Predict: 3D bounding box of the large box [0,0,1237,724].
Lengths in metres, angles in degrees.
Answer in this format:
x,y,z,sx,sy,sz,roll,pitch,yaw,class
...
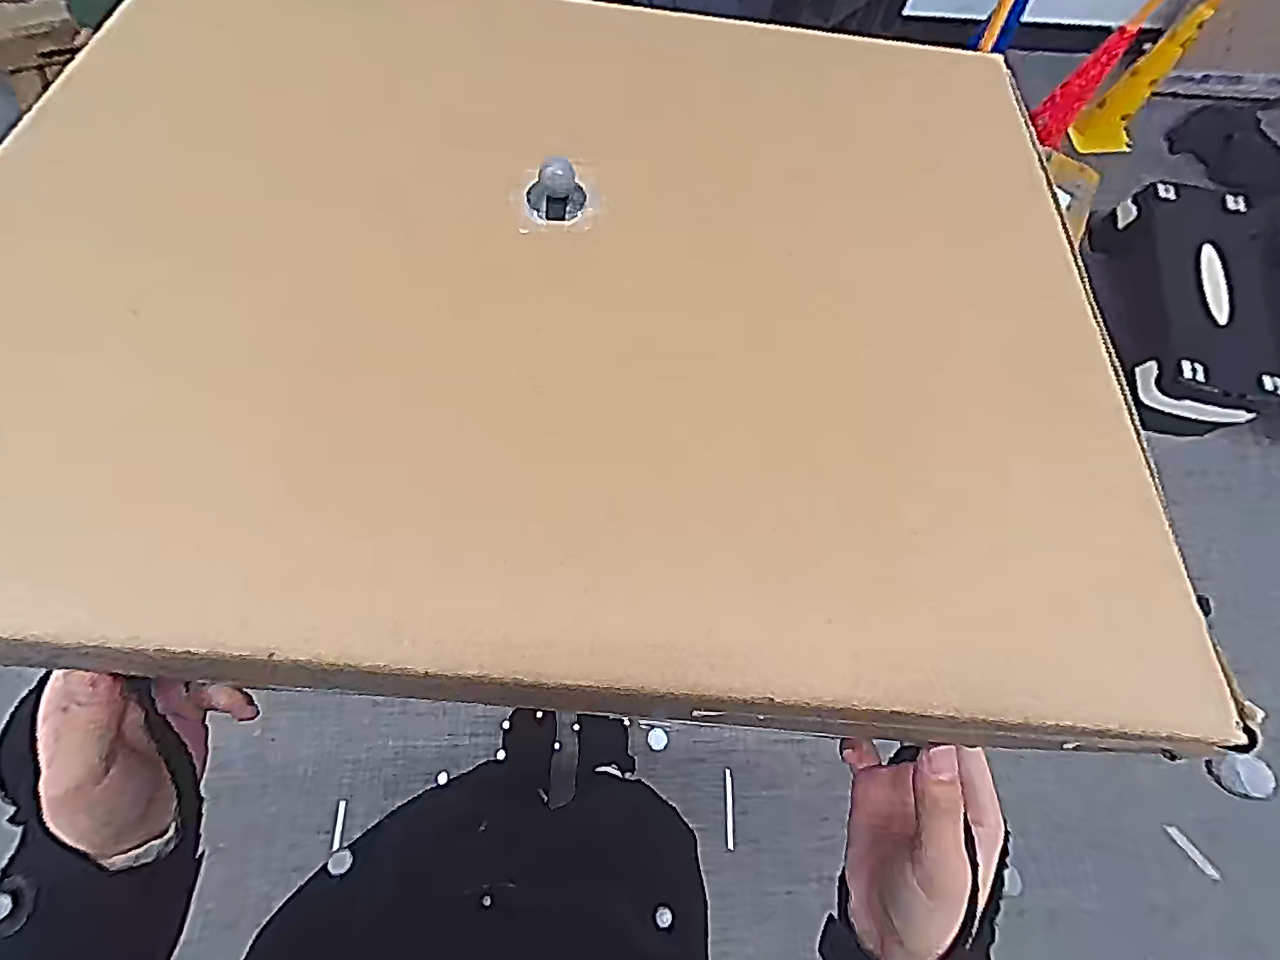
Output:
x,y,z,sx,sy,sz,roll,pitch,yaw,class
-0.040,-0.039,0.334,0.408,0.320,0.320,5,67,-1,large box
